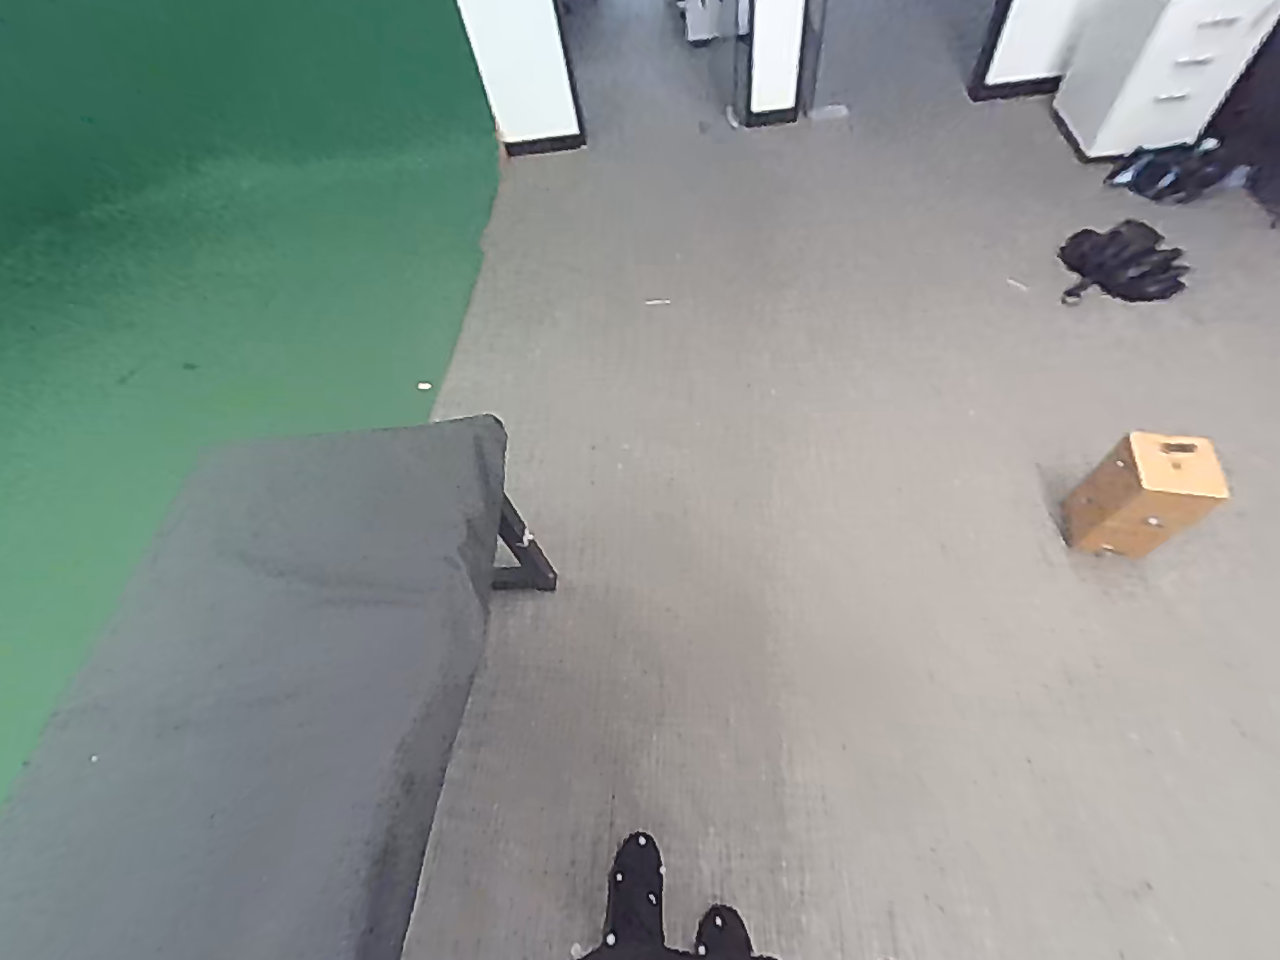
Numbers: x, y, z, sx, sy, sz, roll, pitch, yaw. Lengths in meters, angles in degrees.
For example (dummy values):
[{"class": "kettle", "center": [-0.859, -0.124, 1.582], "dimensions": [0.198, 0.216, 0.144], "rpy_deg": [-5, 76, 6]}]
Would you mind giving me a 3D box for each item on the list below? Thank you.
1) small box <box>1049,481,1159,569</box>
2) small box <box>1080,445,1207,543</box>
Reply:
[{"class": "small box", "center": [1.287, 0.128, 1.517], "dimensions": [0.168, 0.176, 0.179], "rpy_deg": [7, 59, 14]}, {"class": "small box", "center": [1.268, 0.037, 1.381], "dimensions": [0.168, 0.176, 0.179], "rpy_deg": [8, 58, 14]}]
